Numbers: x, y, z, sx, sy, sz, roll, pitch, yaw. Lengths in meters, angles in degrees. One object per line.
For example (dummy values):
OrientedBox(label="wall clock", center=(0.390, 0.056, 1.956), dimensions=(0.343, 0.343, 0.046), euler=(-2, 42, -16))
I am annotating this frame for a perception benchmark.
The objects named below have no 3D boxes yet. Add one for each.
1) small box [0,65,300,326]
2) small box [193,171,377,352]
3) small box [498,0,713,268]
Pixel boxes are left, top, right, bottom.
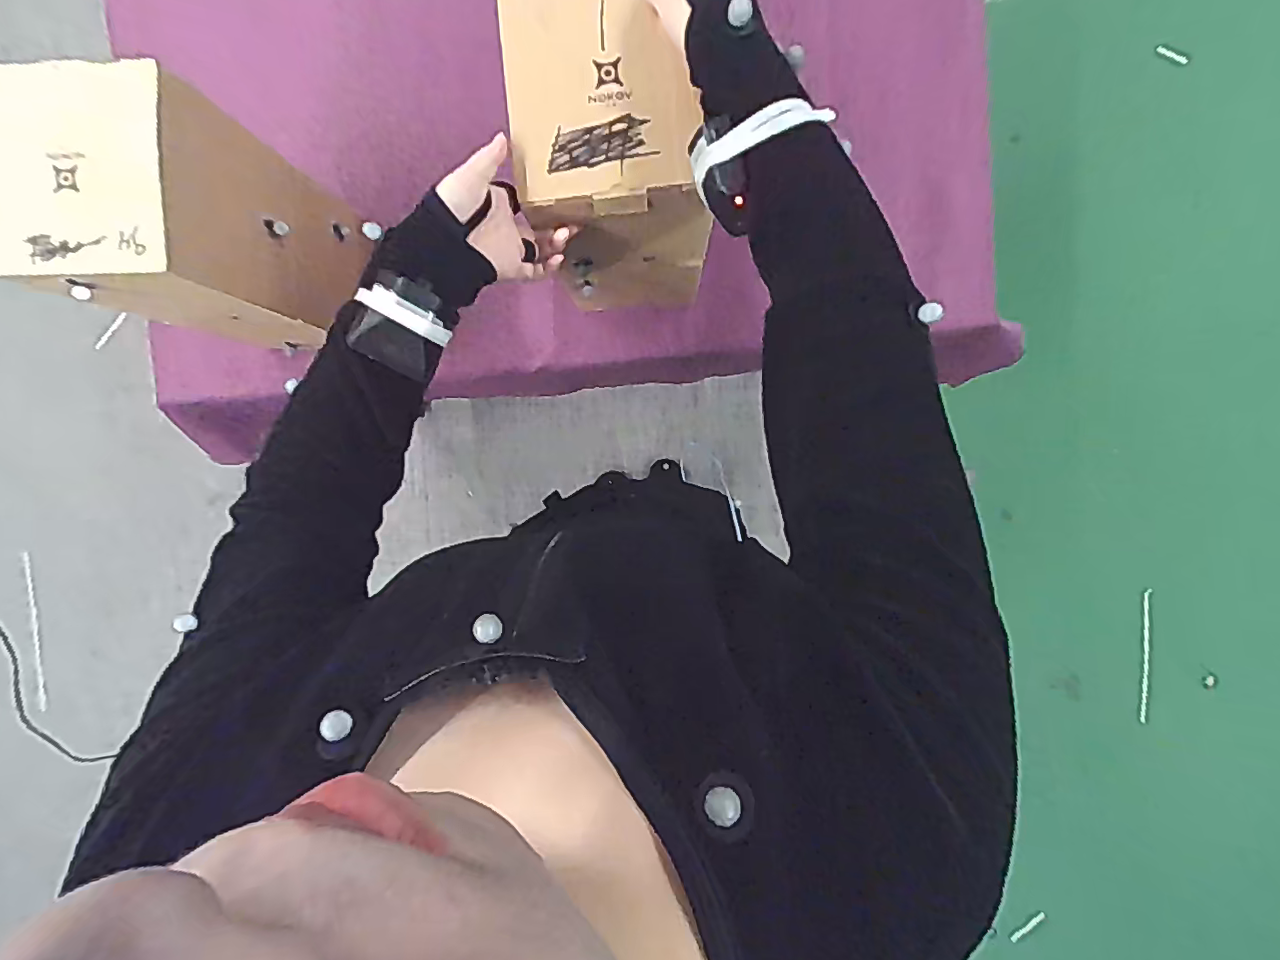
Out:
OrientedBox(label="small box", center=(-0.469, -0.262, 0.536), dimensions=(0.168, 0.176, 0.179), euler=(0, 92, 4))
OrientedBox(label="small box", center=(-0.462, -0.271, 0.701), dimensions=(0.168, 0.176, 0.179), euler=(0, 94, 3))
OrientedBox(label="small box", center=(-0.023, -0.317, 0.515), dimensions=(0.168, 0.176, 0.179), euler=(-5, 91, 3))
